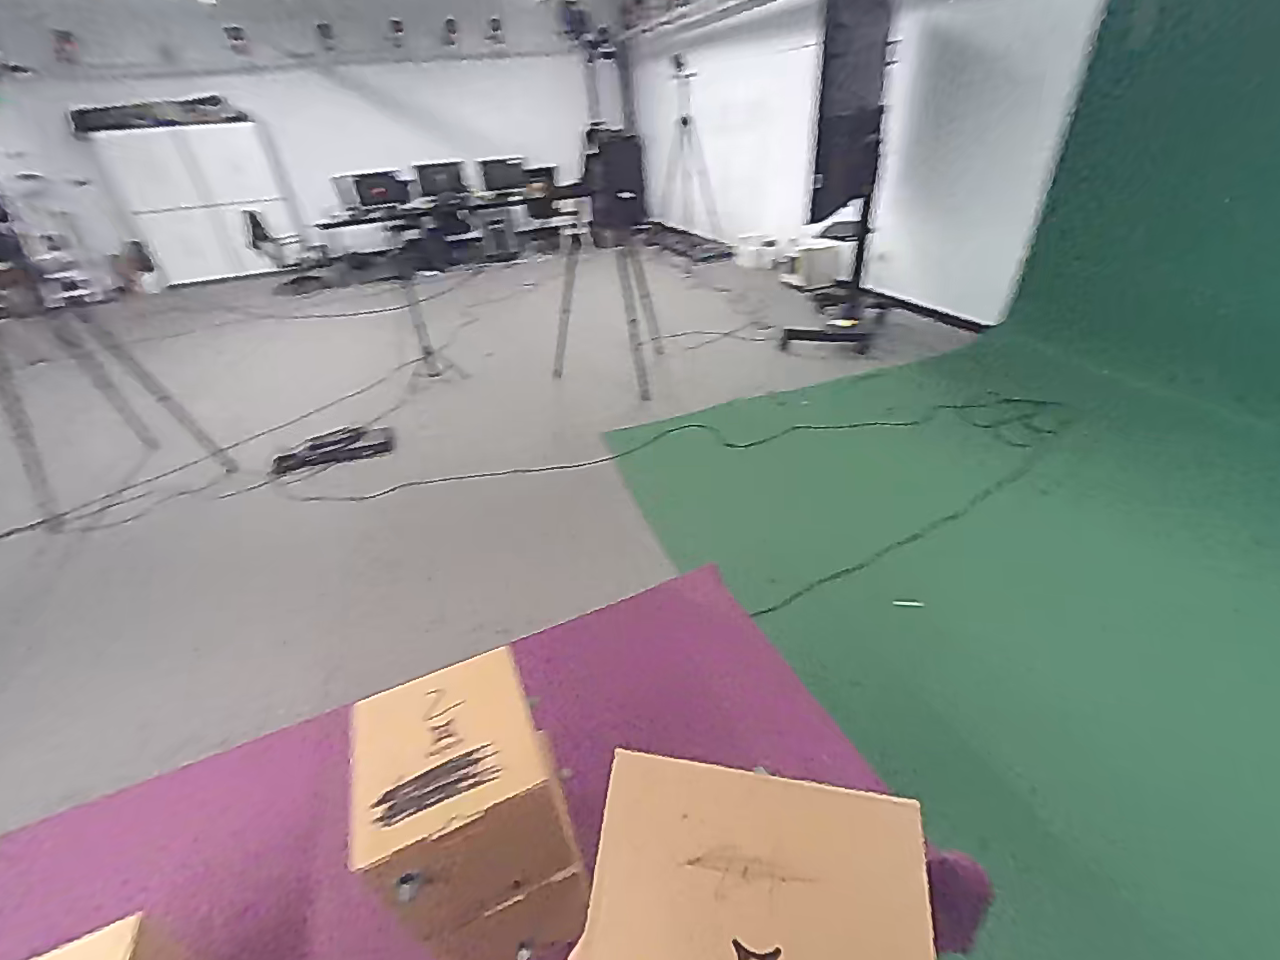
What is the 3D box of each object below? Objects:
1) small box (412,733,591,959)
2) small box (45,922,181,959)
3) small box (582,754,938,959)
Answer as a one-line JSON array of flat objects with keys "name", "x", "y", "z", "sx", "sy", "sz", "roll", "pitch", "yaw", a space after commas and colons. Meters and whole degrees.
[{"name": "small box", "x": -0.168, "y": 0.458, "z": 0.659, "sx": 0.168, "sy": 0.176, "sz": 0.179, "roll": -17, "pitch": 35, "yaw": -15}, {"name": "small box", "x": -0.557, "y": 0.589, "z": 0.517, "sx": 0.168, "sy": 0.176, "sz": 0.179, "roll": -18, "pitch": 34, "yaw": -18}, {"name": "small box", "x": 0.057, "y": 0.279, "z": 0.315, "sx": 0.168, "sy": 0.176, "sz": 0.179, "roll": 8, "pitch": 58, "yaw": 7}]
